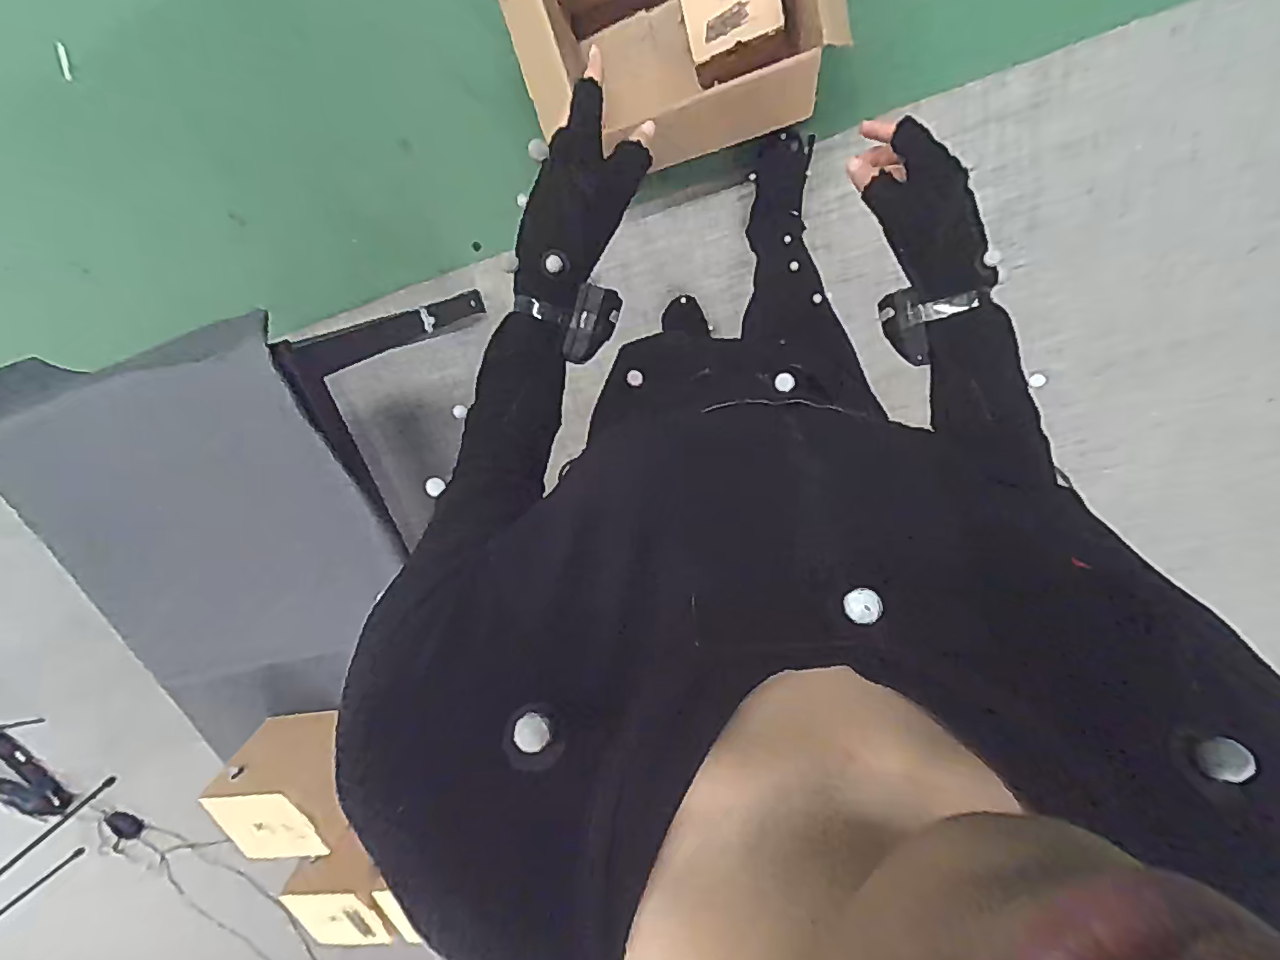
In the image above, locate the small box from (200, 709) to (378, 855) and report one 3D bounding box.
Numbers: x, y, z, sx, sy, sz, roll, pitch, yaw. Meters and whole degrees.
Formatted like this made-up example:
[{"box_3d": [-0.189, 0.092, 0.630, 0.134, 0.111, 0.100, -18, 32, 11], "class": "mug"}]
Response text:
[{"box_3d": [-0.624, 0.545, 0.985, 0.179, 0.176, 0.168, -10, 114, 11], "class": "small box"}]
